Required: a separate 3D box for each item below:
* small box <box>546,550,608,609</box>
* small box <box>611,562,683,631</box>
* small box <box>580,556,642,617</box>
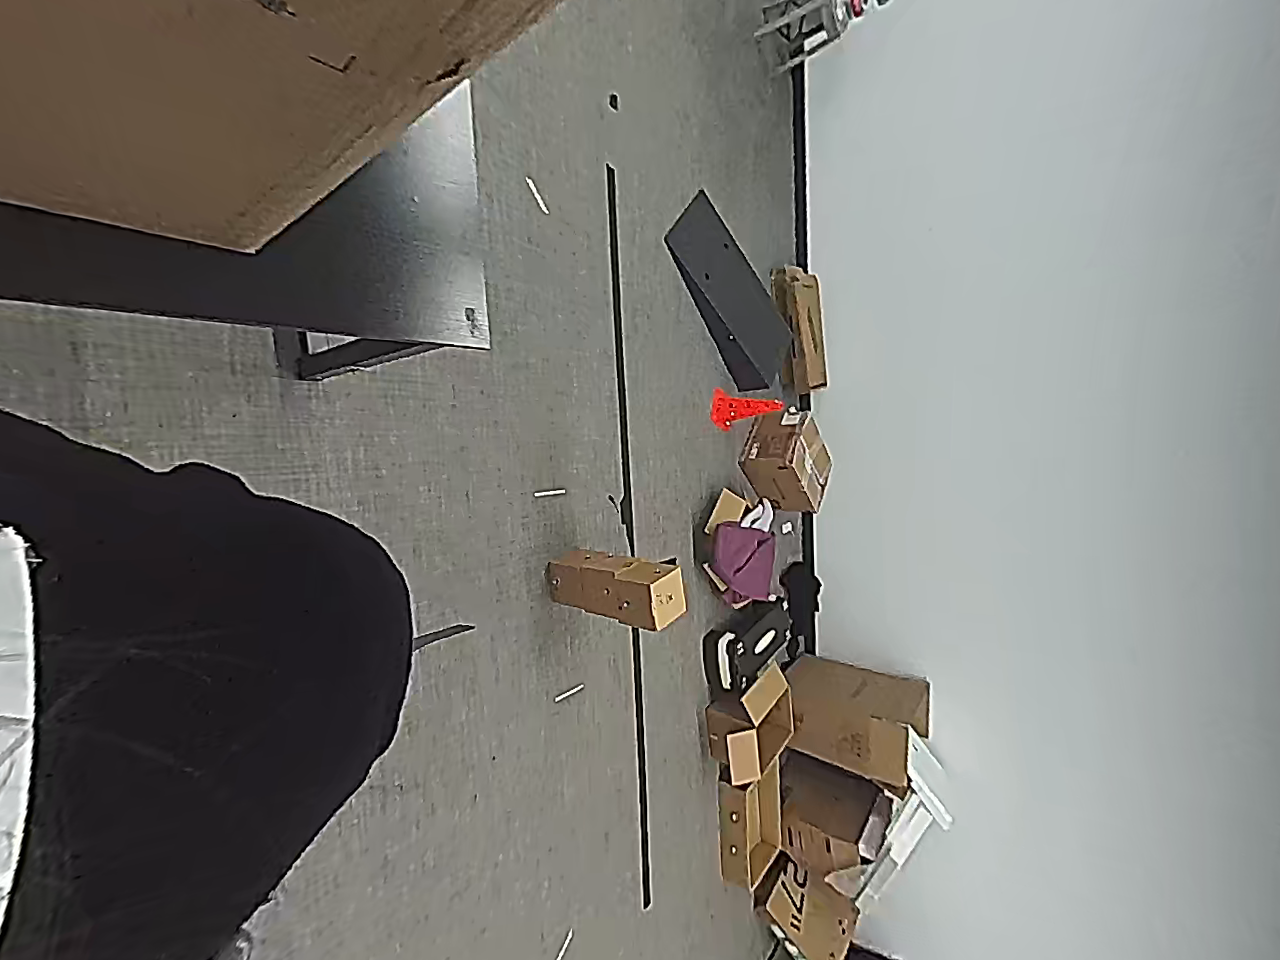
[{"bbox_3d":[-0.231,0.370,2.053,0.179,0.176,0.168,-18,104,-48],"label":"small box"},{"bbox_3d":[0.024,0.389,1.846,0.179,0.176,0.168,-20,106,-48],"label":"small box"},{"bbox_3d":[-0.101,0.377,1.952,0.168,0.176,0.179,-15,103,-49],"label":"small box"}]
